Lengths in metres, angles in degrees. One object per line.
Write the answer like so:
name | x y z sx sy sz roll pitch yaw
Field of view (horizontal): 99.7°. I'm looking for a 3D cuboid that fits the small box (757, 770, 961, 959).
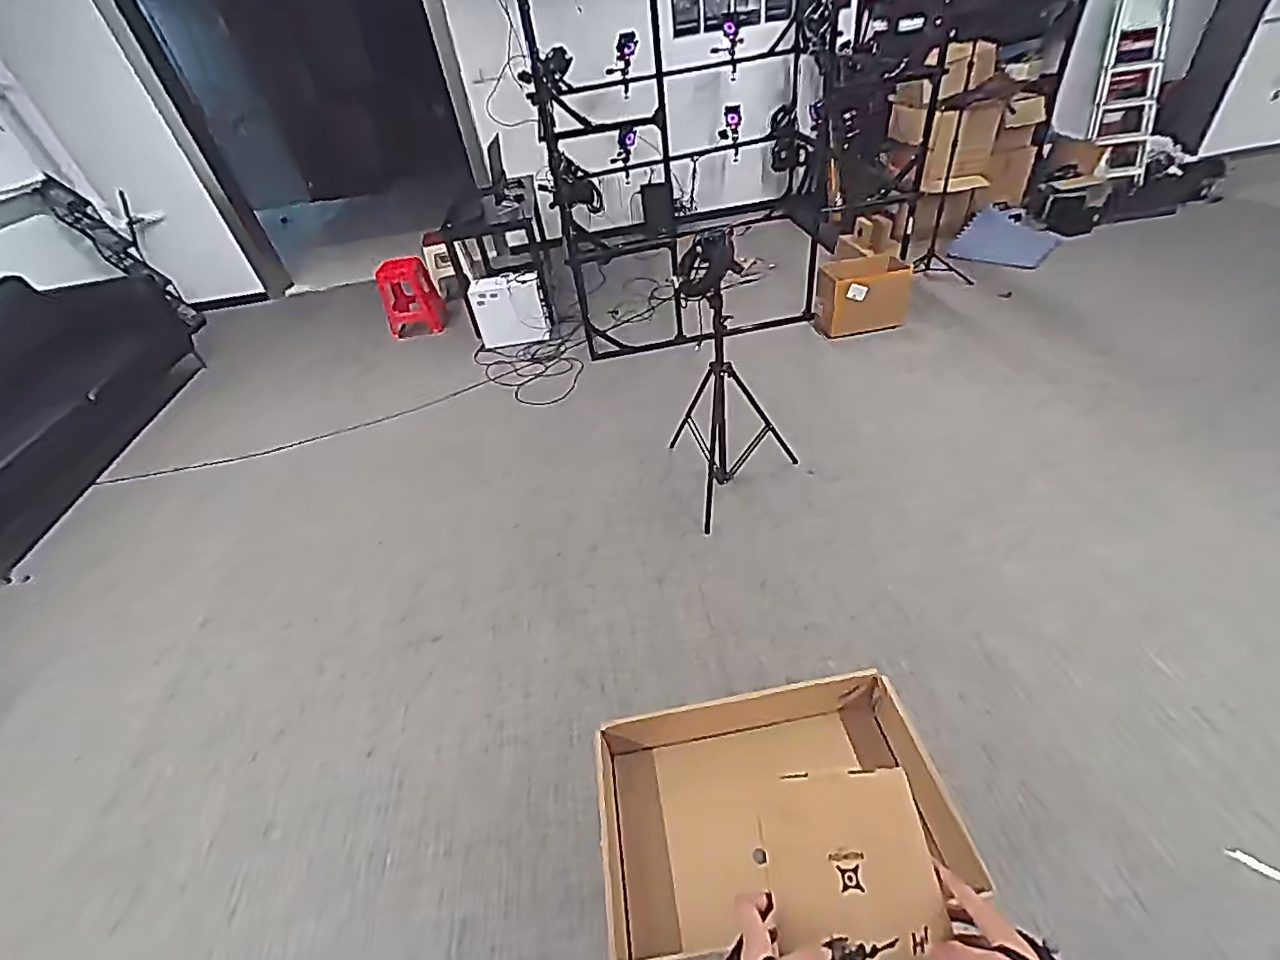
small box | 0.226 0.444 0.609 0.168 0.176 0.179 -7 52 7
